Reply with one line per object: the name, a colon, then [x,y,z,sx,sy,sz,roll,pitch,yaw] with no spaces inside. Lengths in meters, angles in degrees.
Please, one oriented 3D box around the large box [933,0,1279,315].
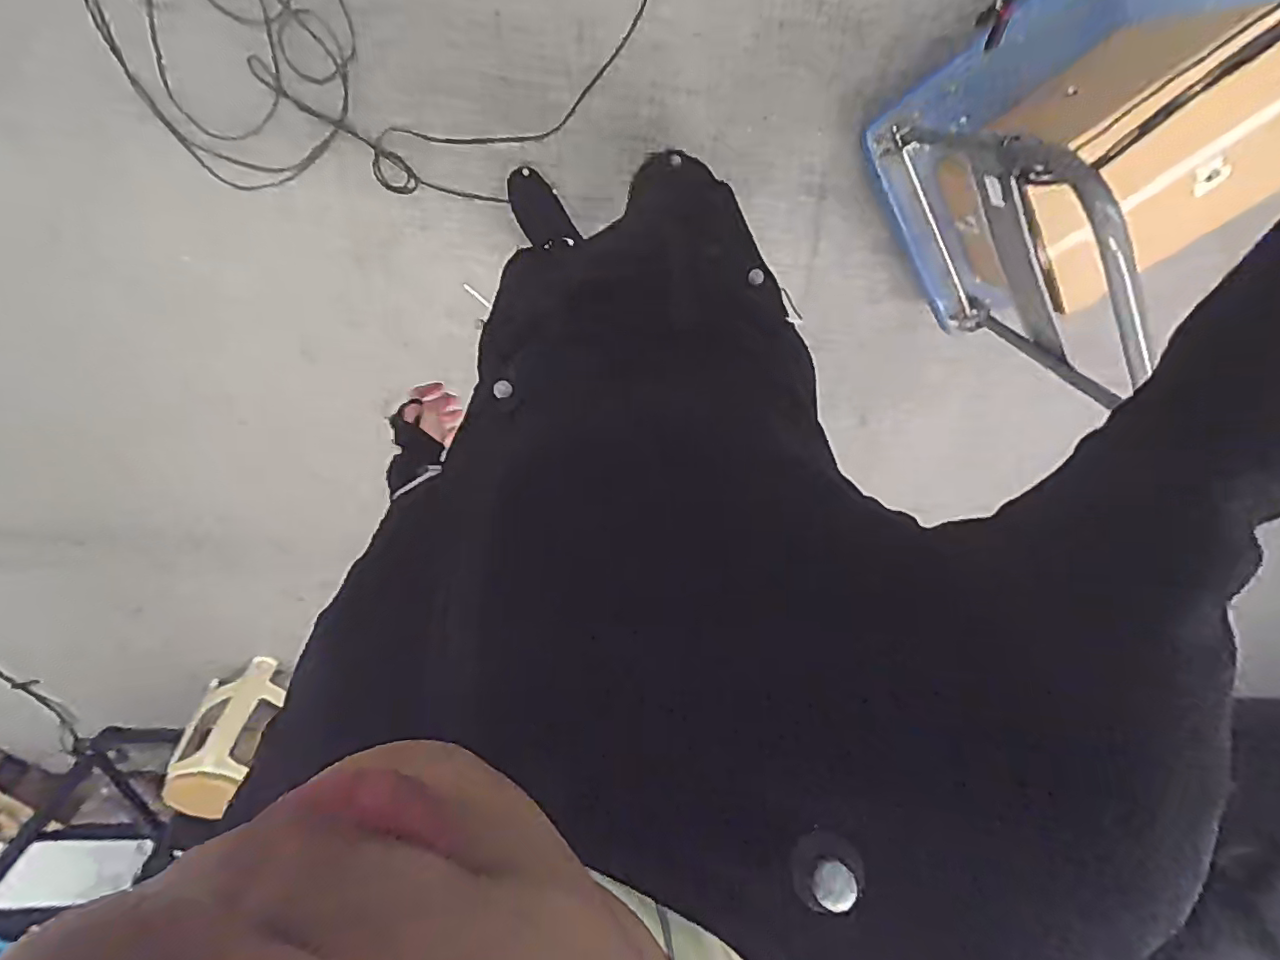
large box: [0.887,-0.606,1.063,0.408,0.320,0.320,-34,120,17]
